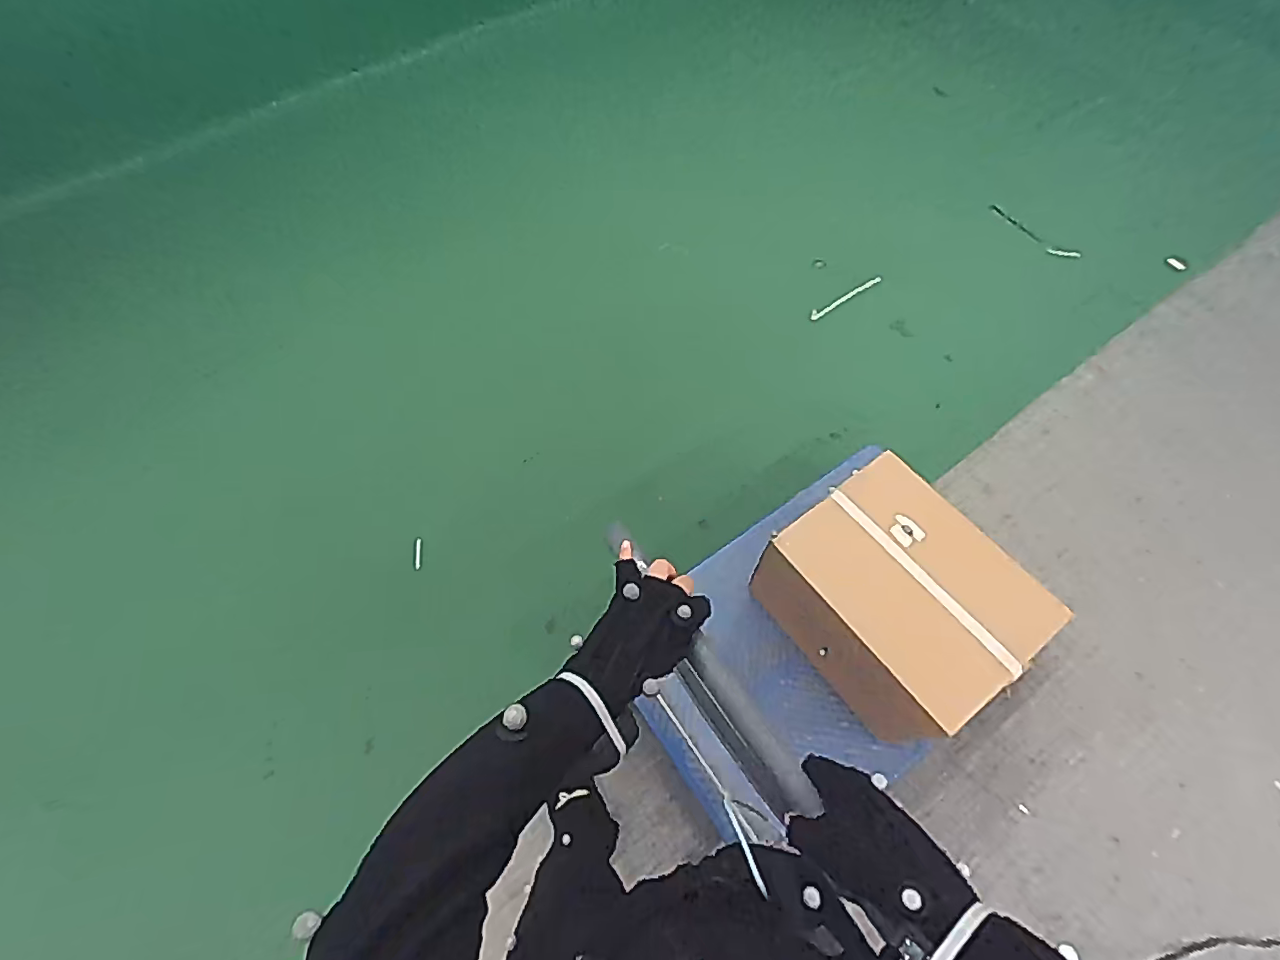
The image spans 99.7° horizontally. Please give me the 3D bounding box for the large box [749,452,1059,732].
[{"bbox_3d":[0.480,0.231,1.084,0.320,0.320,0.408,-34,66,-14],"label":"large box"}]
